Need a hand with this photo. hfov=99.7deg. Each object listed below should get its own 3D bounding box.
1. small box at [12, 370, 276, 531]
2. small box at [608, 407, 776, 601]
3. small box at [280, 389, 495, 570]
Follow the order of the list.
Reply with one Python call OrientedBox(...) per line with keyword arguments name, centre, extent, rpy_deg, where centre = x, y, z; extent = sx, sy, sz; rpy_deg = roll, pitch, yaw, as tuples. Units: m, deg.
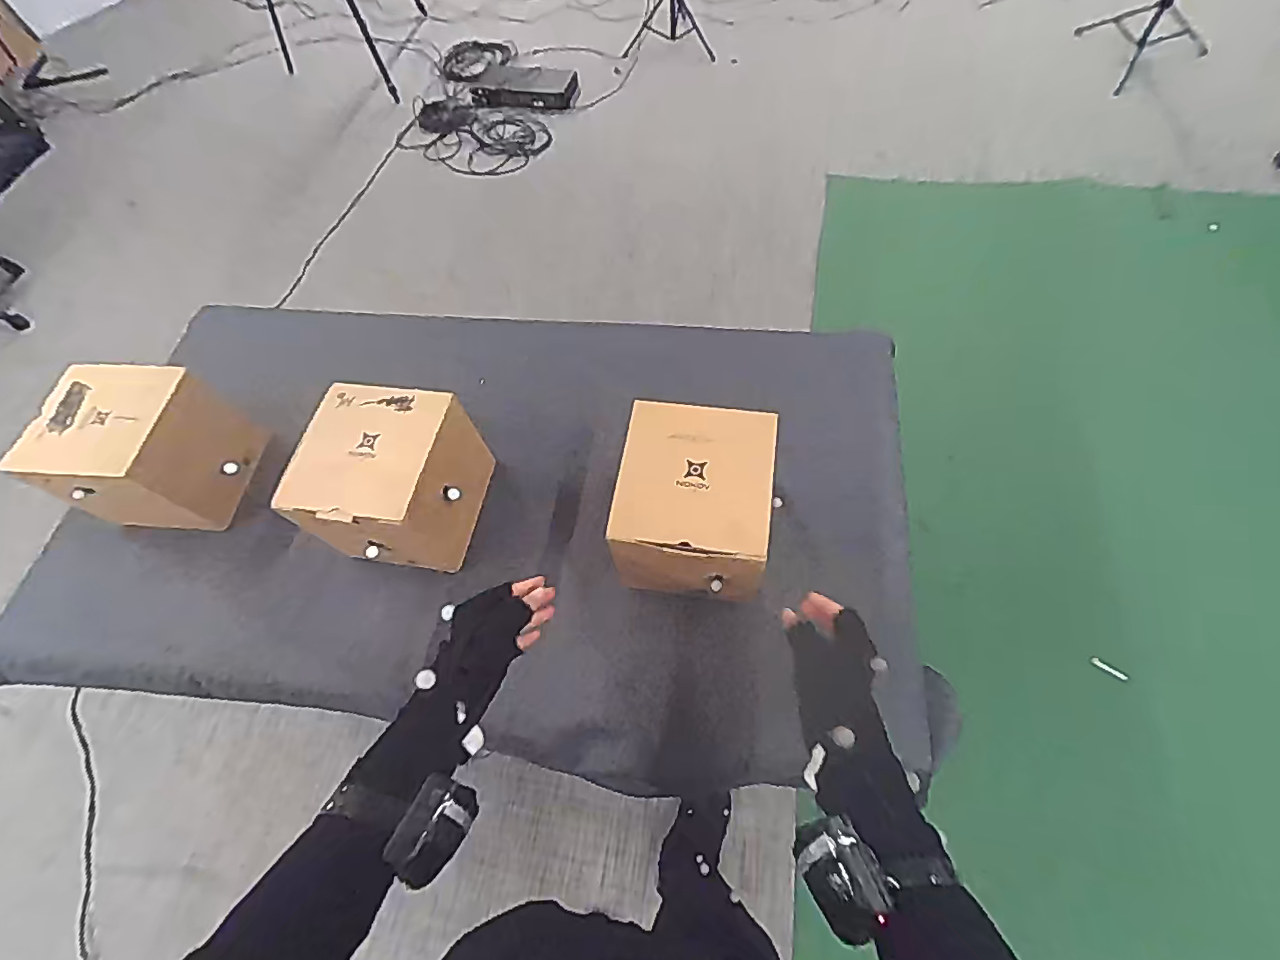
OrientedBox(name="small box", centre=(-0.672, -0.036, 0.760), extent=(0.179, 0.176, 0.168), rpy_deg=(3, 63, 6))
OrientedBox(name="small box", centre=(0.066, 0.036, 0.656), extent=(0.168, 0.176, 0.179), rpy_deg=(7, 62, 8))
OrientedBox(name="small box", centre=(-0.308, 0.006, 0.705), extent=(0.168, 0.176, 0.179), rpy_deg=(6, 64, 9))
